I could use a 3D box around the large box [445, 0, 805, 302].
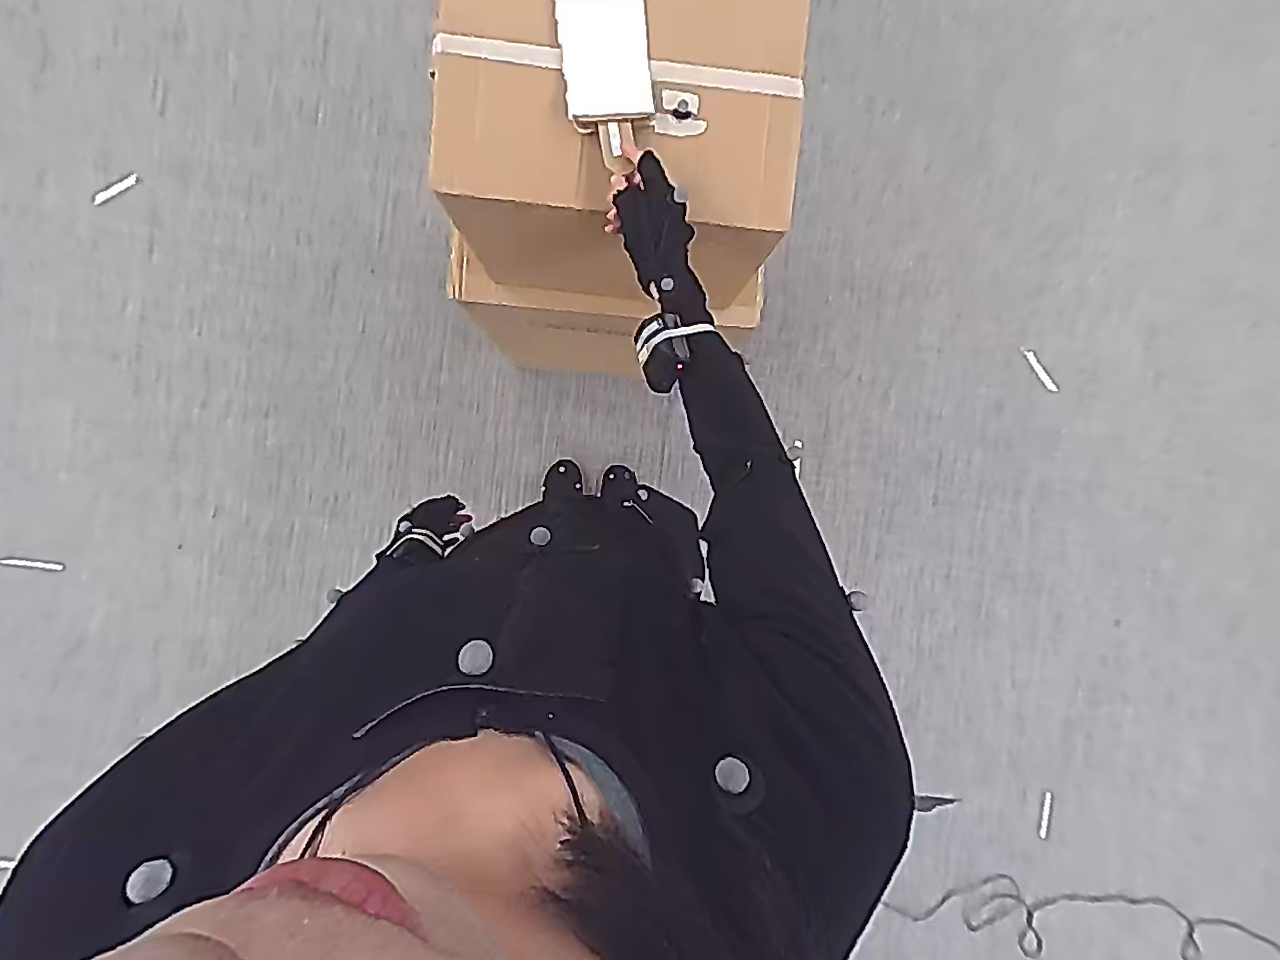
[{"bbox_3d":[-0.025,-0.465,0.764,0.408,0.320,0.320,5,92,-4],"label":"large box"}]
